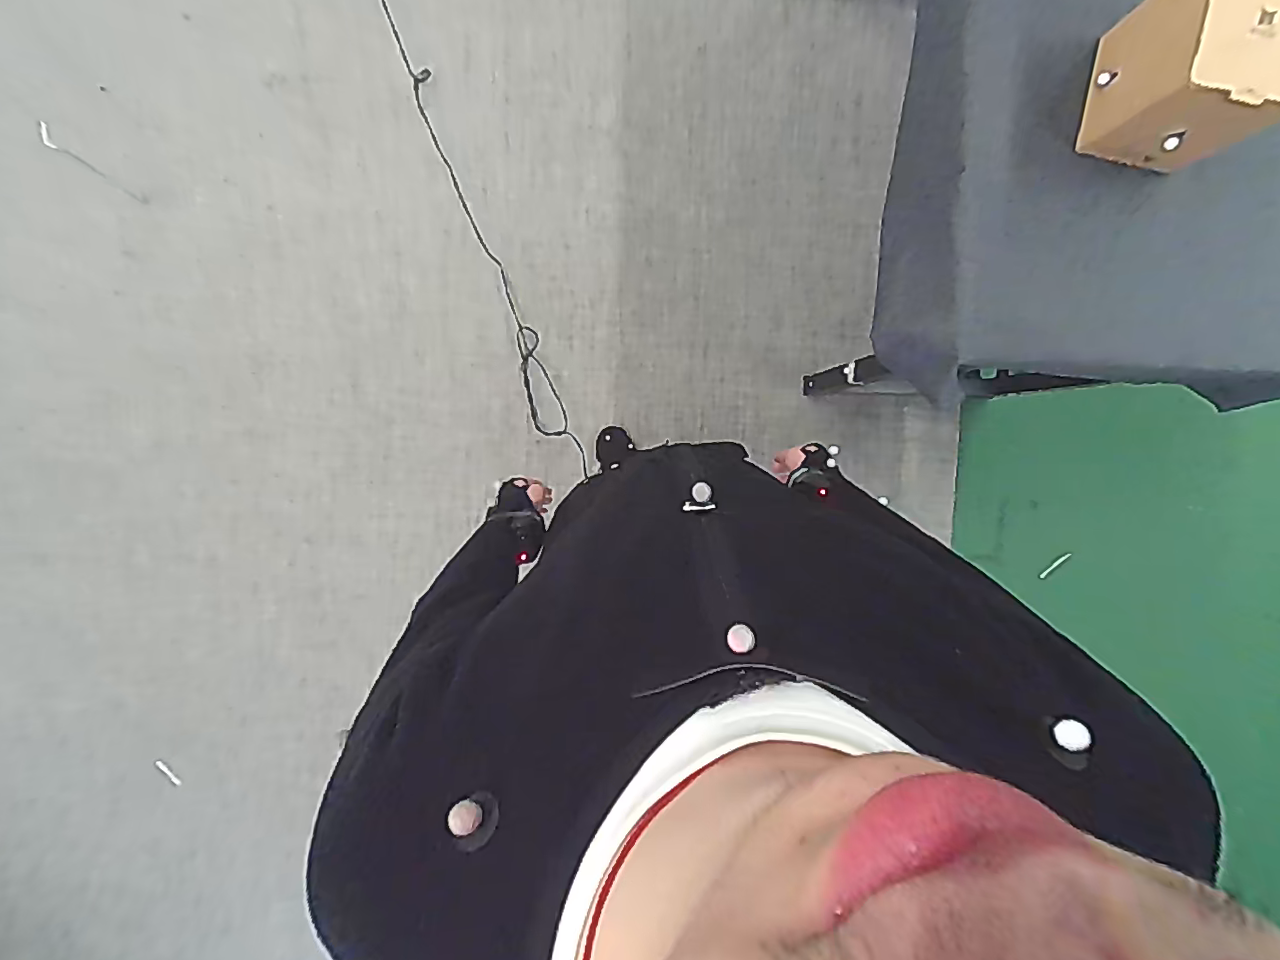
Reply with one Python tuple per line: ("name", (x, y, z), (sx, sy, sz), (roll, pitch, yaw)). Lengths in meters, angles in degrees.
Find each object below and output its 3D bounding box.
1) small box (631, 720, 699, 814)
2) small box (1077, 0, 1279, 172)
("small box", (0.066, 0.814, 1.540), (0.168, 0.176, 0.179), (3, 94, -6))
("small box", (0.771, -0.570, 0.762), (0.168, 0.176, 0.179), (10, 94, -4))
